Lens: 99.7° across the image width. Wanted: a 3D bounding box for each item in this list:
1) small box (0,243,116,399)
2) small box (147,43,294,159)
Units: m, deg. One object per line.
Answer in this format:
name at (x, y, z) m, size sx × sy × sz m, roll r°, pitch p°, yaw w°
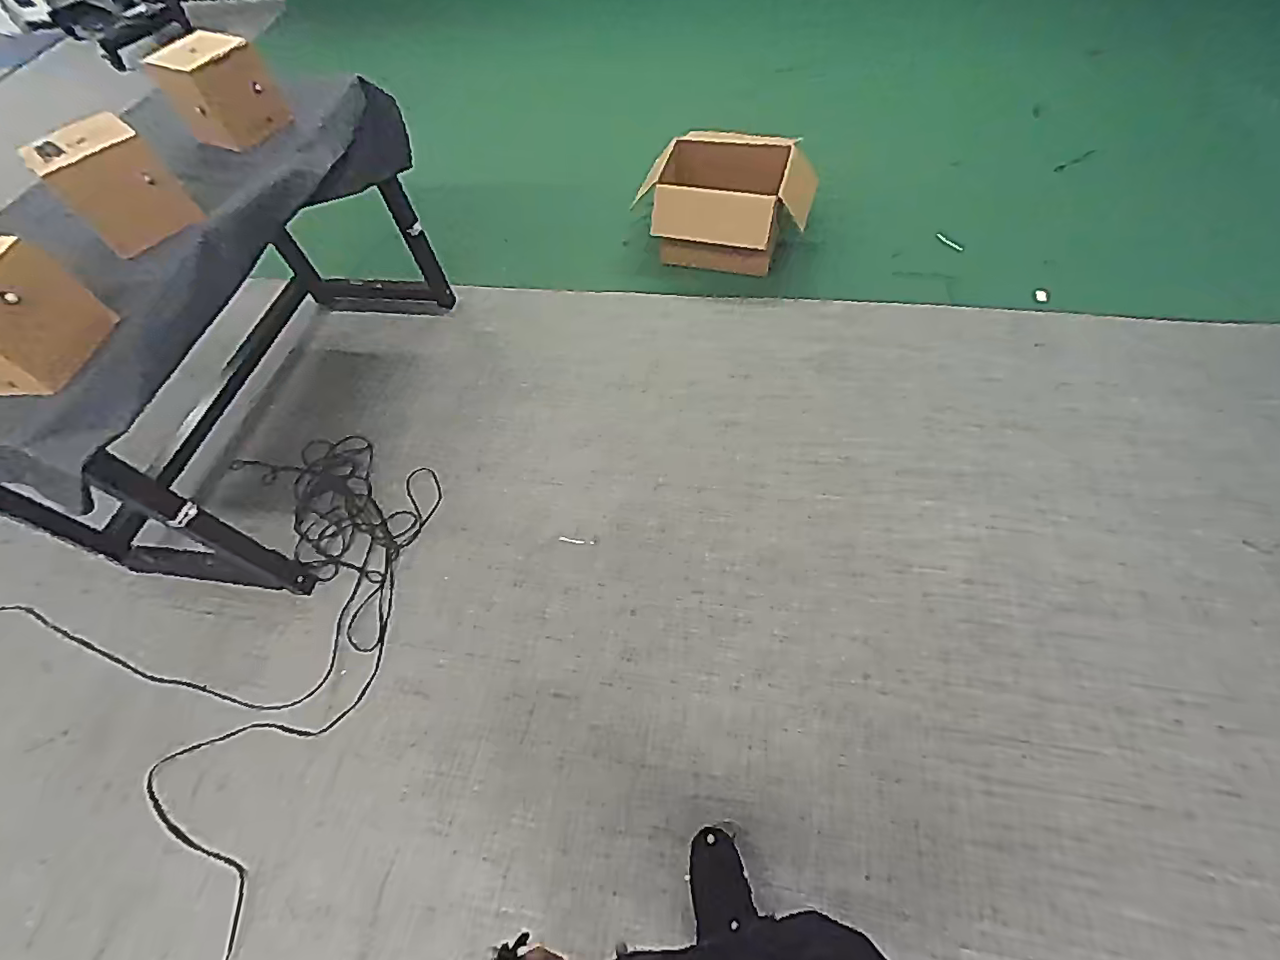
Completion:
small box at (-1.016, -0.252, 0.867) m, size 0.168 × 0.176 × 0.179 m, roll 1°, pitch 58°, yaw 10°
small box at (-0.967, -0.883, 1.264) m, size 0.179 × 0.176 × 0.168 m, roll 21°, pitch 62°, yaw 20°
